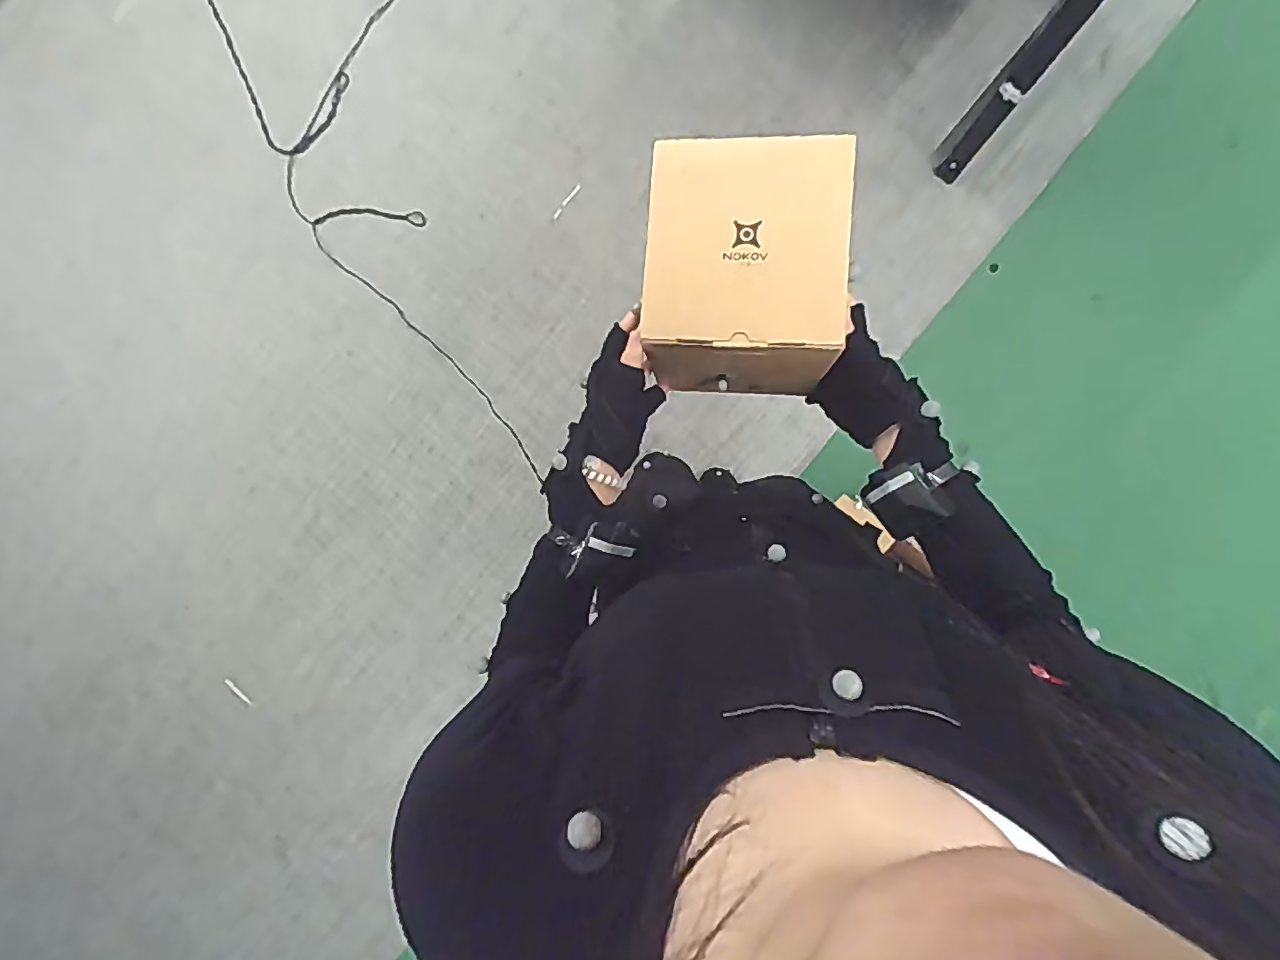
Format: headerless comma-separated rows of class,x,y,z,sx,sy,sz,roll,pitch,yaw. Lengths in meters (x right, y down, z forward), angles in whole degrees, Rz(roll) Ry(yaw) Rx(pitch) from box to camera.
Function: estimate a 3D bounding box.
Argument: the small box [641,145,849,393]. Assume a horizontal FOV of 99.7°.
small box,0.097,-0.194,0.535,0.168,0.176,0.179,4,88,8
